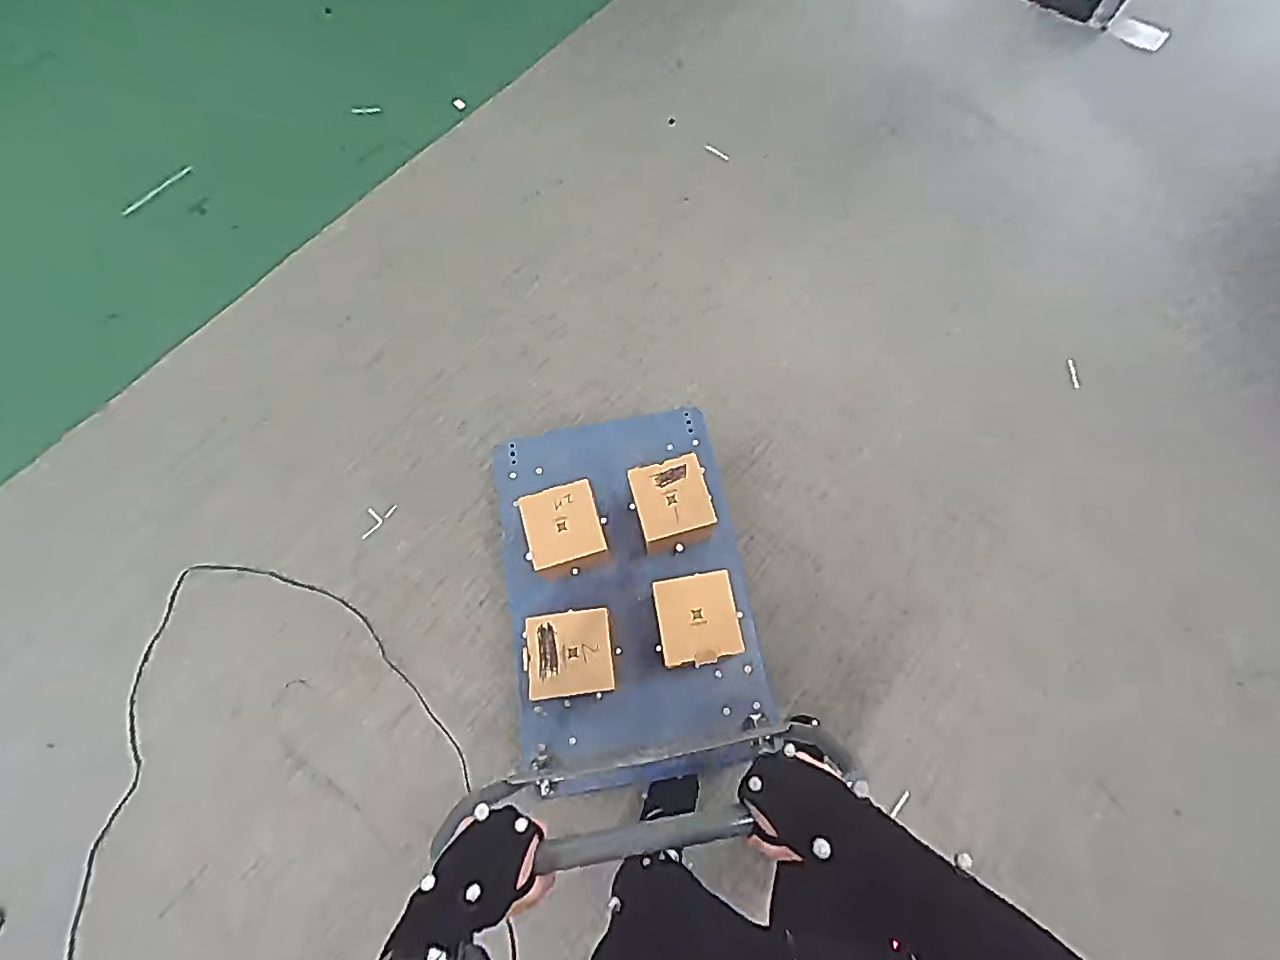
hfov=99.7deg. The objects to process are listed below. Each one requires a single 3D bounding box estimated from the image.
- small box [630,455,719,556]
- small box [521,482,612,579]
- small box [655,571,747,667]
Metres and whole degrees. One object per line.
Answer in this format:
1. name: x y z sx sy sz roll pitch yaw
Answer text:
1. small box: 0.078 0.067 1.294 0.168 0.176 0.179 -15 71 -3
2. small box: -0.168 0.128 1.280 0.168 0.176 0.179 -16 70 -5
3. small box: 0.127 0.315 1.205 0.168 0.176 0.179 -10 71 -2
